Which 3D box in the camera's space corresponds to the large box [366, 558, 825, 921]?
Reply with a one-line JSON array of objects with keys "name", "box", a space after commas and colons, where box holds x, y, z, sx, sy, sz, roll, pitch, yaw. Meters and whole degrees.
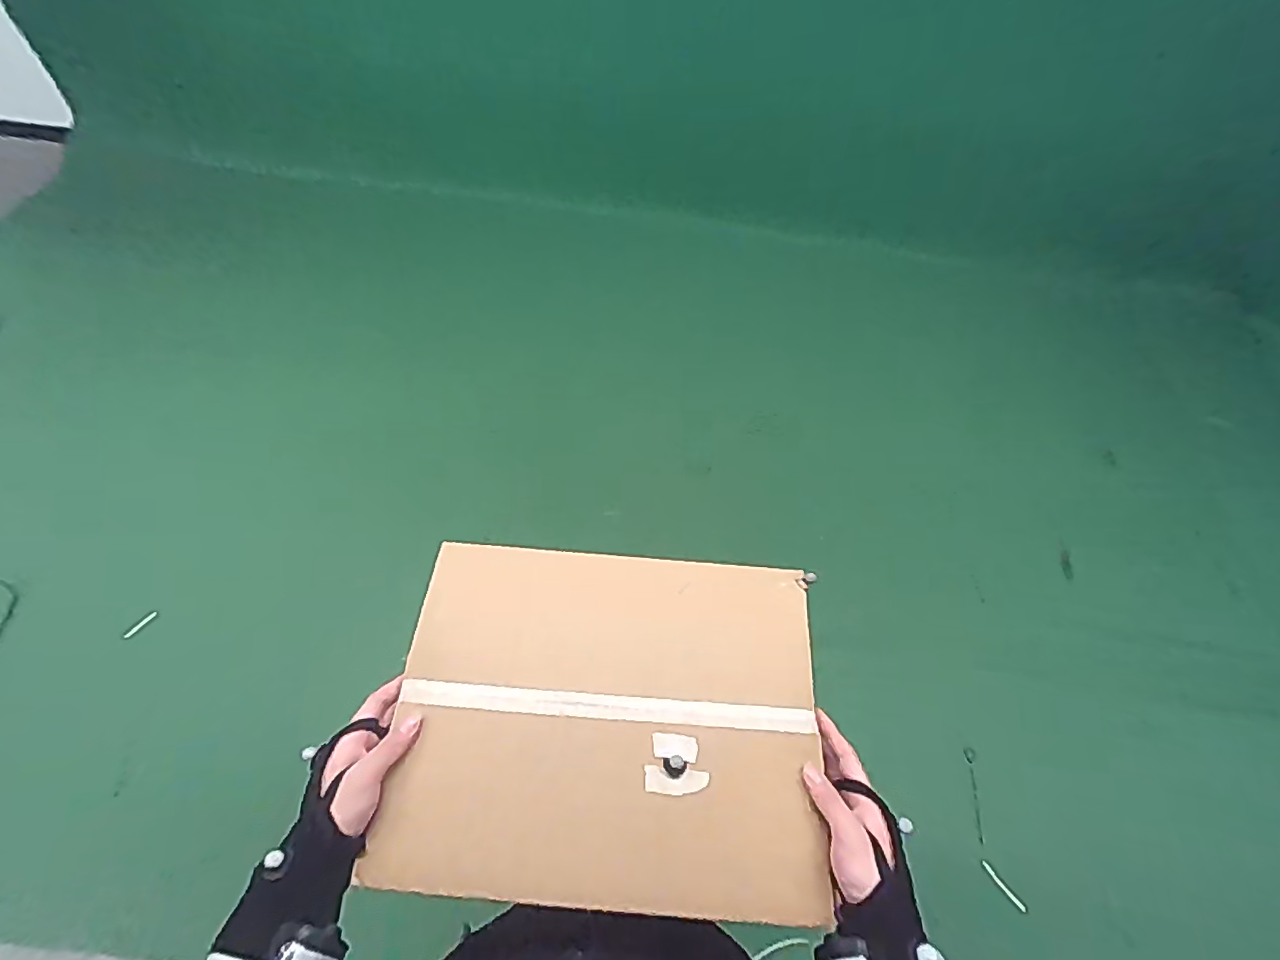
[{"name": "large box", "box": [-0.037, 0.309, 0.663, 0.408, 0.320, 0.320, 5, 60, 0]}]
